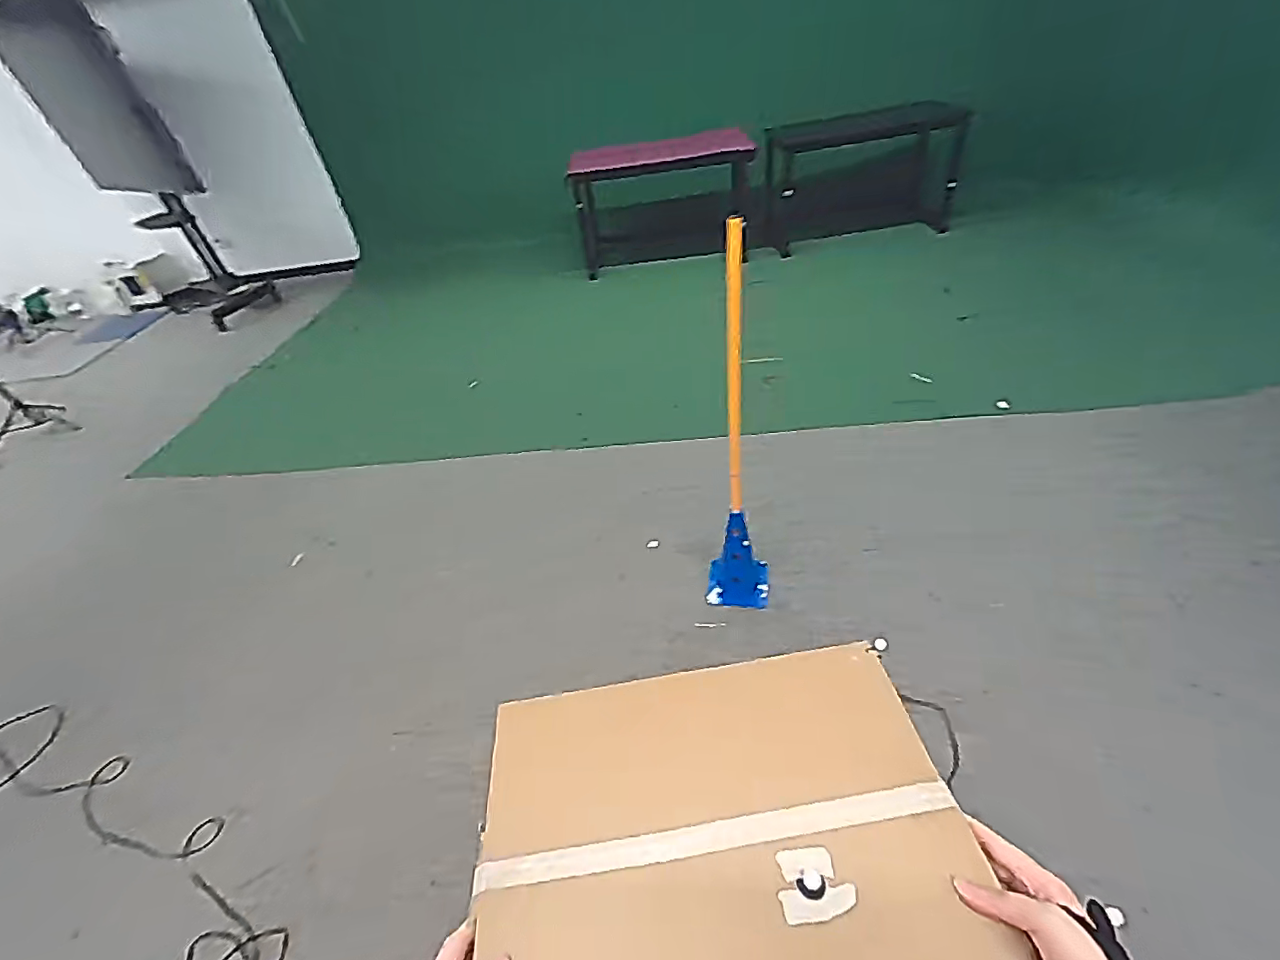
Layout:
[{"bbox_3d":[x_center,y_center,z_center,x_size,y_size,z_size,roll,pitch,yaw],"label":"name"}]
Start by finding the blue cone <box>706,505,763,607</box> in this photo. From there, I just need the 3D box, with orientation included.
[{"bbox_3d":[0.307,0.236,1.770,0.193,0.380,0.192,2,41,13],"label":"blue cone"}]

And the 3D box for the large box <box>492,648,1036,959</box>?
[{"bbox_3d":[0.089,0.421,0.557,0.408,0.320,0.320,-8,39,-1],"label":"large box"}]
